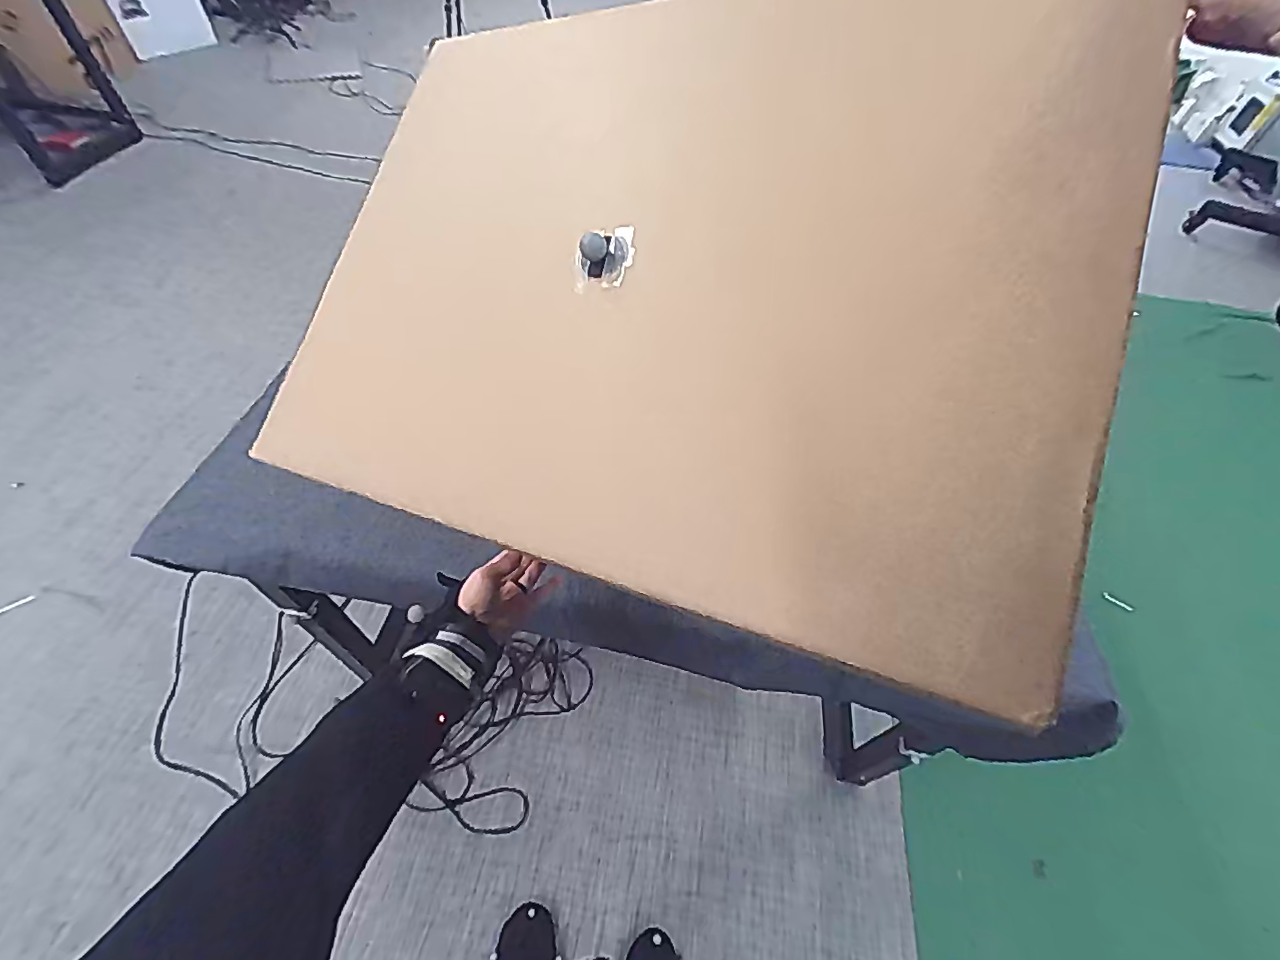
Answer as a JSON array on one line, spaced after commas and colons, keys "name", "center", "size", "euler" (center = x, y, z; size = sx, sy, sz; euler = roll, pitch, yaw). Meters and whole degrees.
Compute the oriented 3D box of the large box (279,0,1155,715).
[{"name": "large box", "center": [0.045, -0.064, 0.406], "size": [0.408, 0.320, 0.320], "euler": [12, 79, 24]}]
